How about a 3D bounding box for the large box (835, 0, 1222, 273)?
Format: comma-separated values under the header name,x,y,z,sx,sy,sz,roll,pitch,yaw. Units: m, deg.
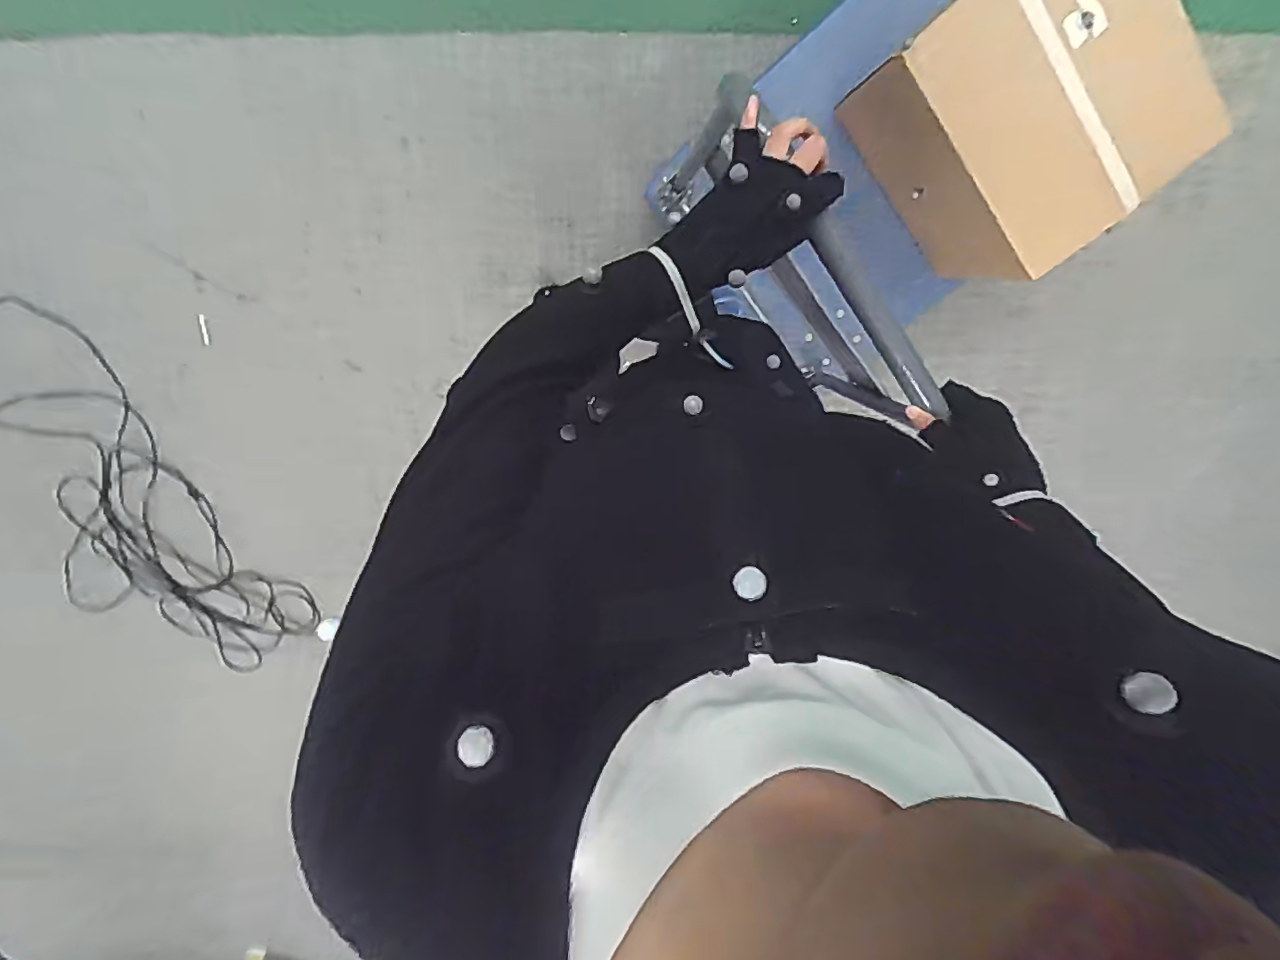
name,x,y,z,sx,sy,sz,roll,pitch,yaw
large box,0.610,-0.613,0.918,0.320,0.320,0.408,-40,104,14
